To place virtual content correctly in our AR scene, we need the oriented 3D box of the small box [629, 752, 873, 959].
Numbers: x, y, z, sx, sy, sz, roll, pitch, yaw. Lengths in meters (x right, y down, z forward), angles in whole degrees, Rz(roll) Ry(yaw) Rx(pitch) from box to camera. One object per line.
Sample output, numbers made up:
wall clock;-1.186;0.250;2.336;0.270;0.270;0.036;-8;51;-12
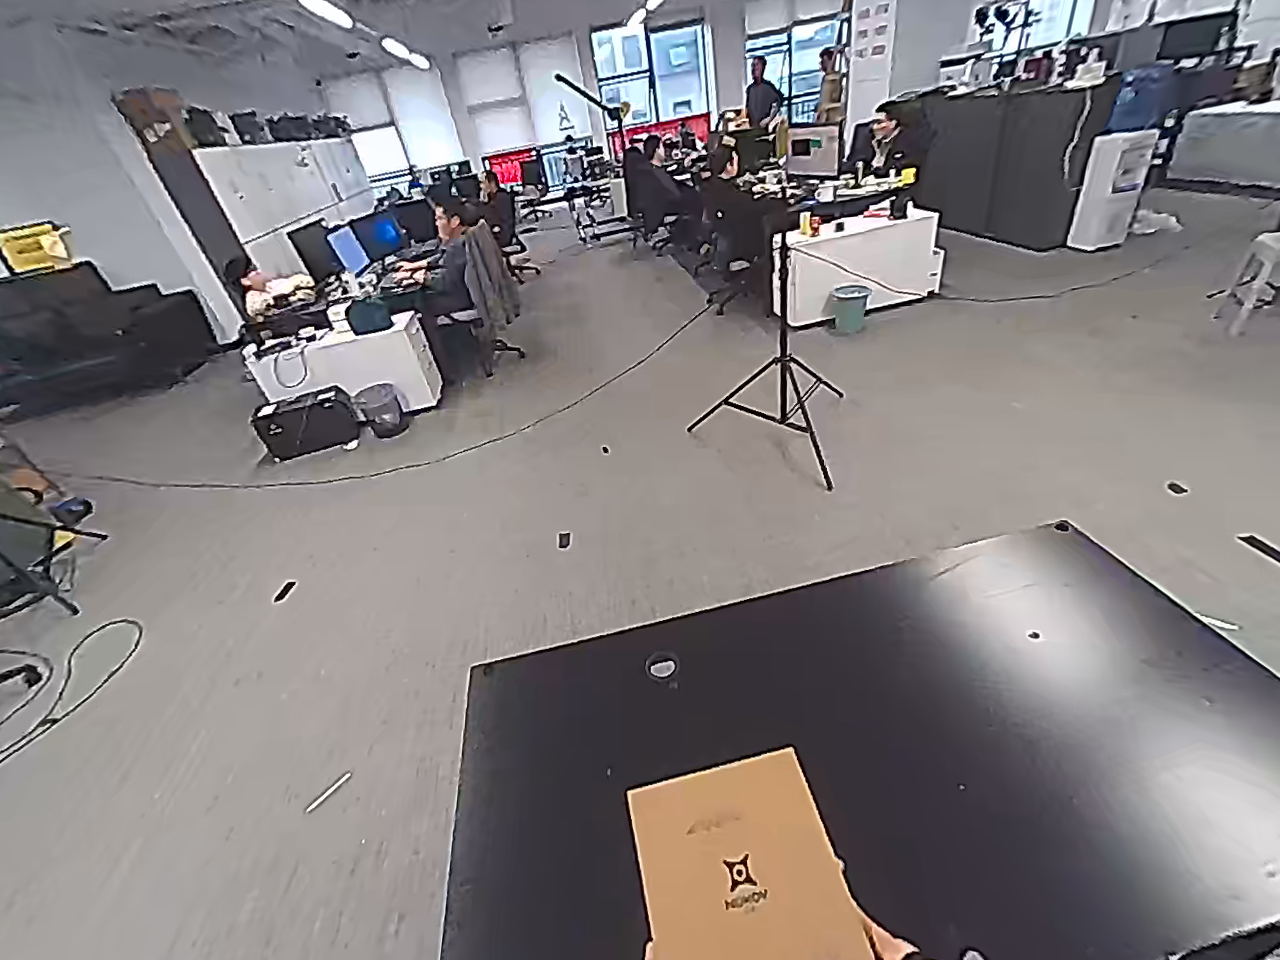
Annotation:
small box;0.093;0.391;0.507;0.168;0.176;0.179;-12;44;-5
